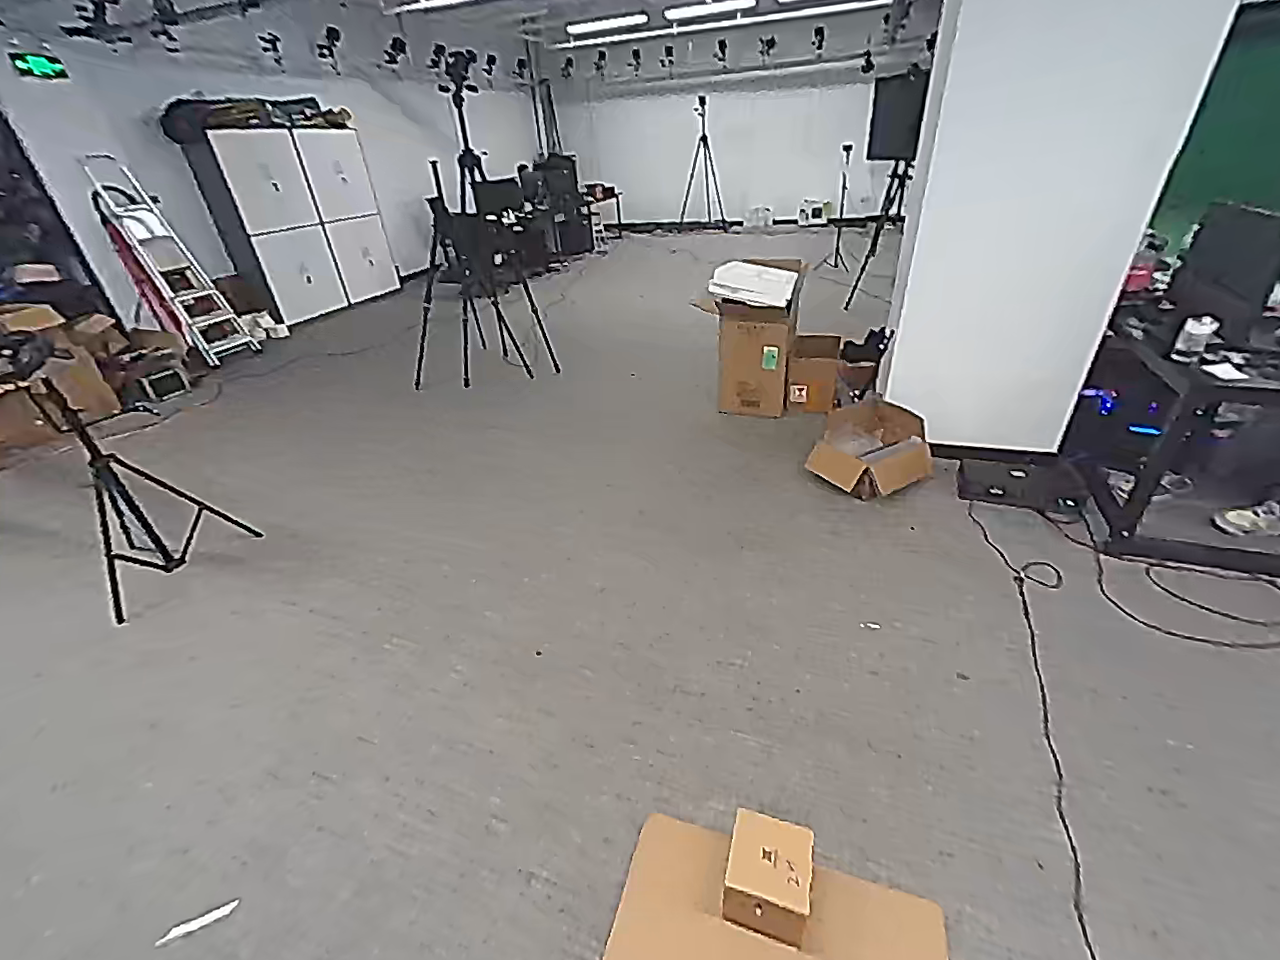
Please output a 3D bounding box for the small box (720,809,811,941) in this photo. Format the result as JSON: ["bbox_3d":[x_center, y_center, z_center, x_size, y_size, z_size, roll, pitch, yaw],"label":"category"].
[{"bbox_3d":[0.281,0.894,1.224,0.179,0.176,0.168,9,35,18],"label":"small box"}]
